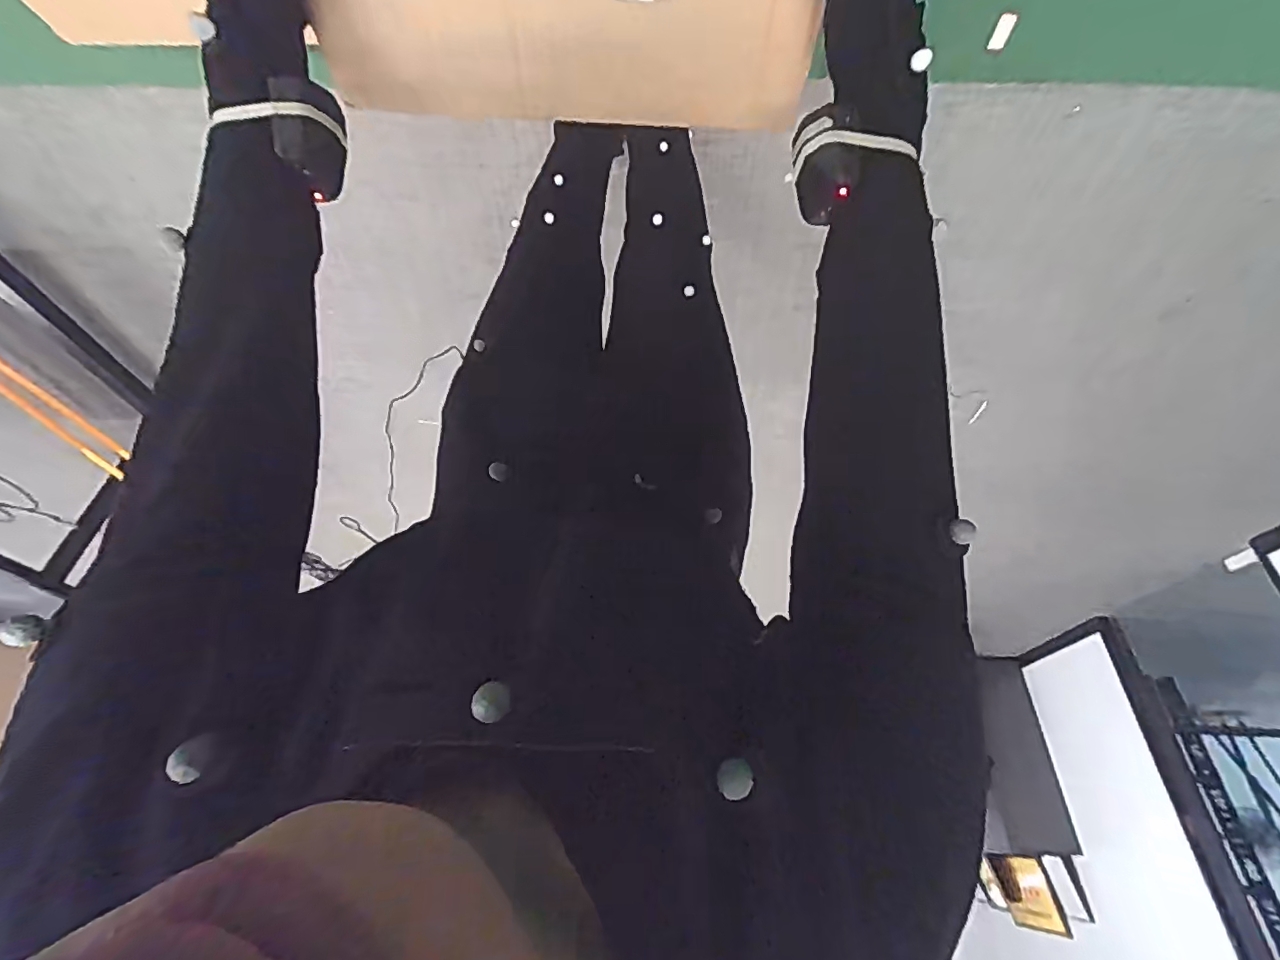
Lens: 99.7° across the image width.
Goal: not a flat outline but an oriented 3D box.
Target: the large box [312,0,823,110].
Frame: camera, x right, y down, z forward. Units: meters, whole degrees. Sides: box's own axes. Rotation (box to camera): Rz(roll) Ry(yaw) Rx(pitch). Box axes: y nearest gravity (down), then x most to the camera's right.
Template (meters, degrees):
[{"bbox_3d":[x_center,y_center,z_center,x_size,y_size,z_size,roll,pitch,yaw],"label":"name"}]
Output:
[{"bbox_3d":[-0.054,-0.538,0.432,0.408,0.320,0.320,2,148,0],"label":"large box"}]
